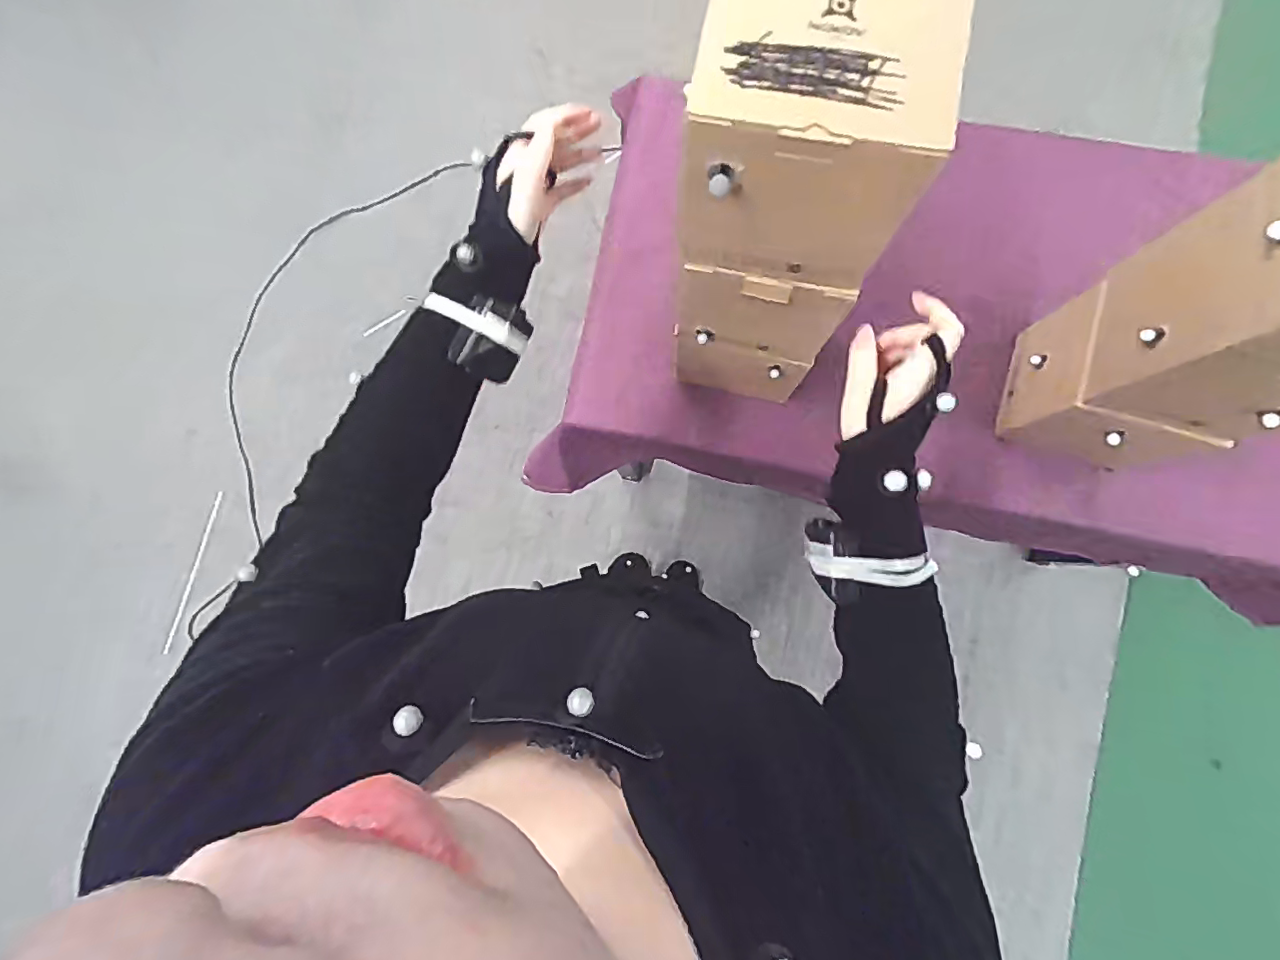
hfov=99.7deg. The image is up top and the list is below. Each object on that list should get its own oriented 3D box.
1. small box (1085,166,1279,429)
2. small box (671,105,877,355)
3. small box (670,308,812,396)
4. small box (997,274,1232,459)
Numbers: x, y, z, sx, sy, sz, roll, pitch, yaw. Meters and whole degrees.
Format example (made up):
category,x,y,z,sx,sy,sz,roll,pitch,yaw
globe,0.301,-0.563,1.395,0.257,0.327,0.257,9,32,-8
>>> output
category,x,y,z,sx,sy,sz,roll,pitch,yaw
small box,0.601,-0.166,0.544,0.168,0.176,0.179,17,83,5
small box,0.133,-0.255,0.588,0.168,0.176,0.179,12,82,5
small box,0.143,-0.228,0.750,0.179,0.176,0.168,13,83,5
small box,0.610,-0.135,0.704,0.179,0.176,0.168,17,84,6
